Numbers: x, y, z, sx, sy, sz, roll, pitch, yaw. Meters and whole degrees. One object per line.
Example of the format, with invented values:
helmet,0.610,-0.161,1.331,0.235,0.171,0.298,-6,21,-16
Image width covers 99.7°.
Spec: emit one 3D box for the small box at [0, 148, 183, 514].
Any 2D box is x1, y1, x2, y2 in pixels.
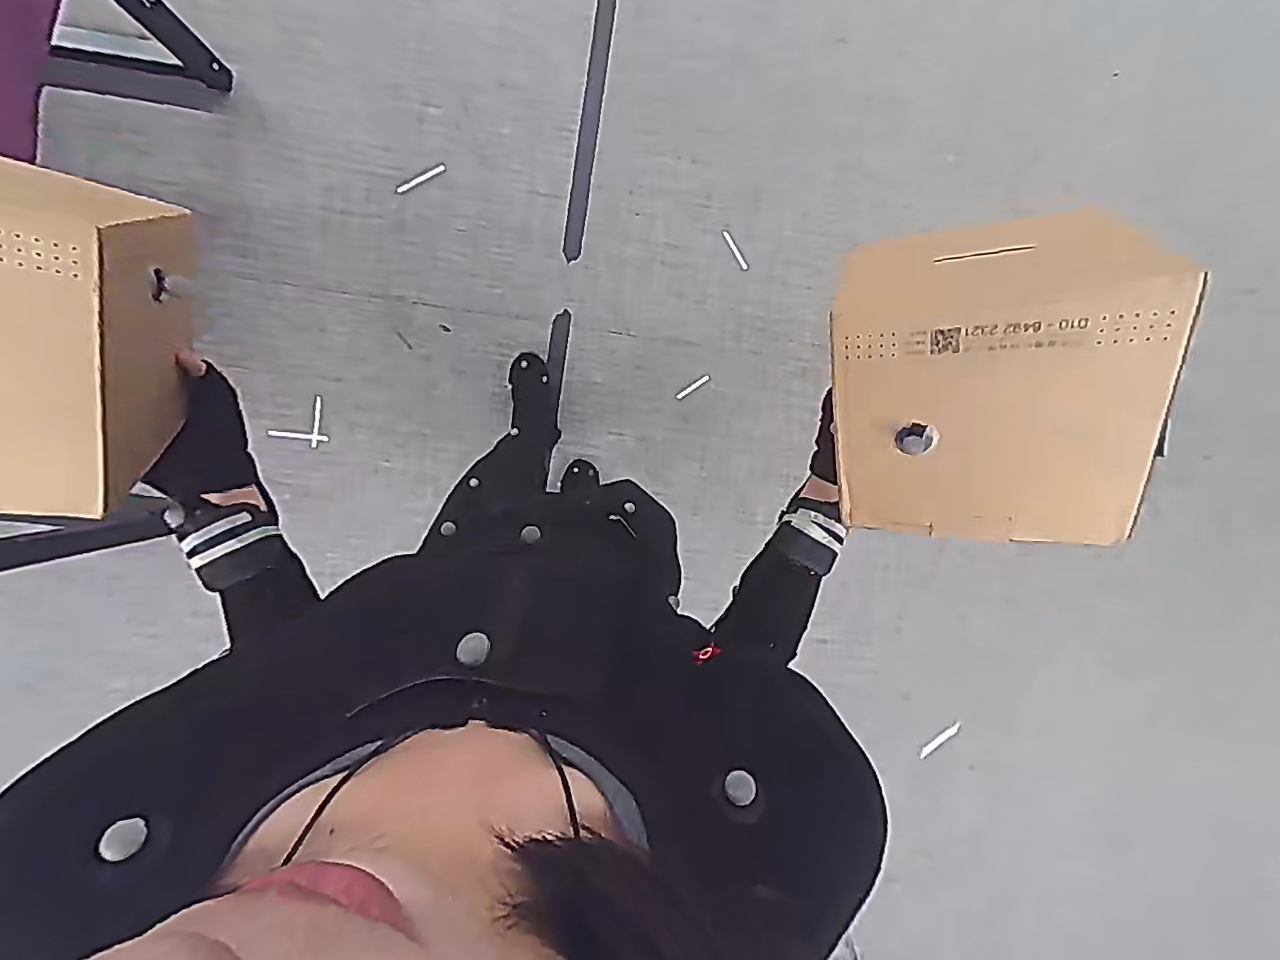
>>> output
small box,-0.386,-0.099,0.305,0.168,0.179,0.176,9,111,-29
